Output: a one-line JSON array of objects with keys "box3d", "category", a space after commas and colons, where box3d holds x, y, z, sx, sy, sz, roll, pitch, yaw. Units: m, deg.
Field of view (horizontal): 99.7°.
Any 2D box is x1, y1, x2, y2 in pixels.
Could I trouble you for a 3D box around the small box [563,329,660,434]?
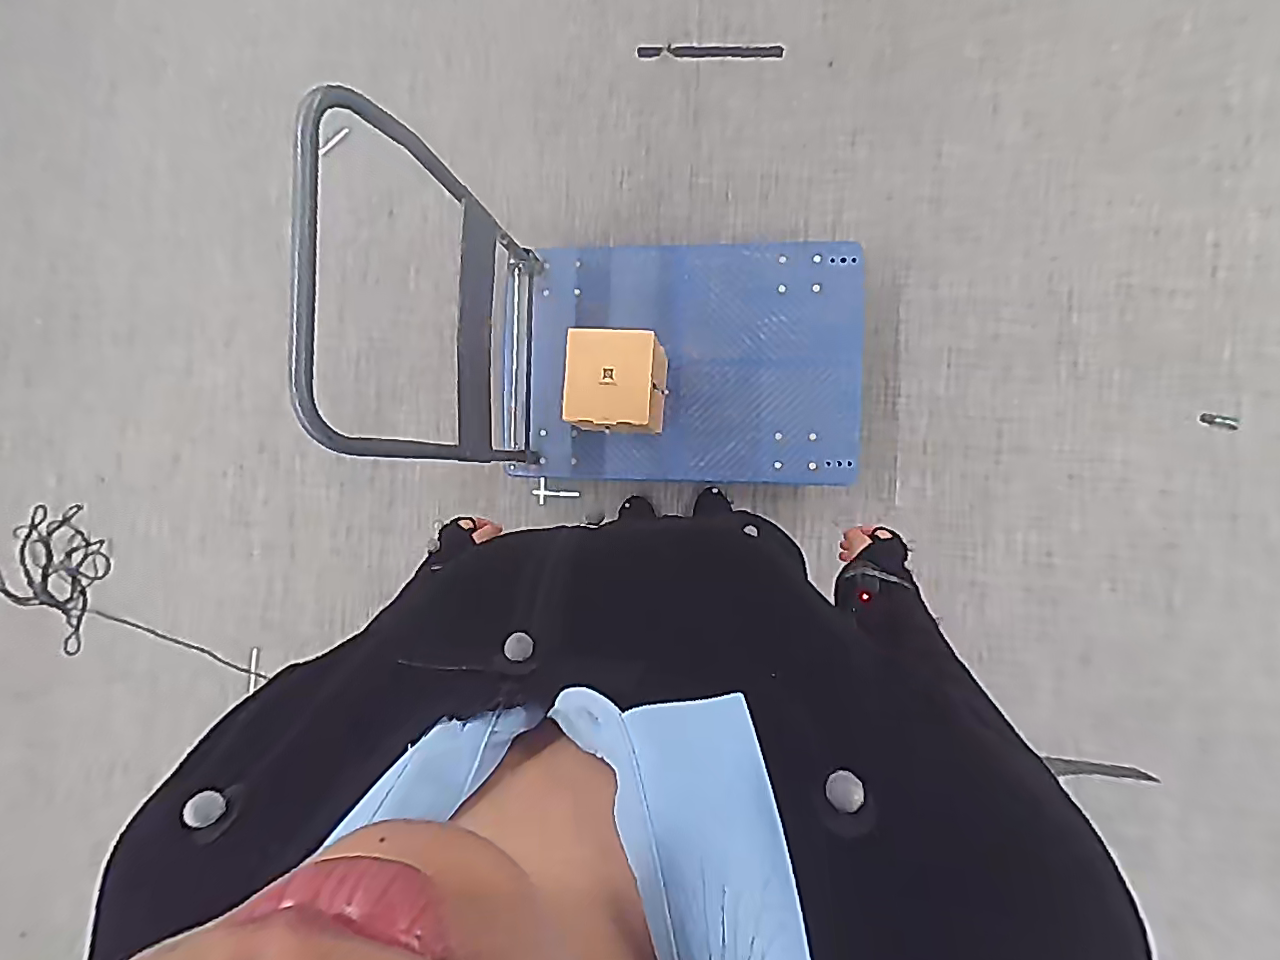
[{"box3d": [-0.050, -0.190, 1.079, 0.168, 0.176, 0.179, 4, 91, 6], "category": "small box"}]
